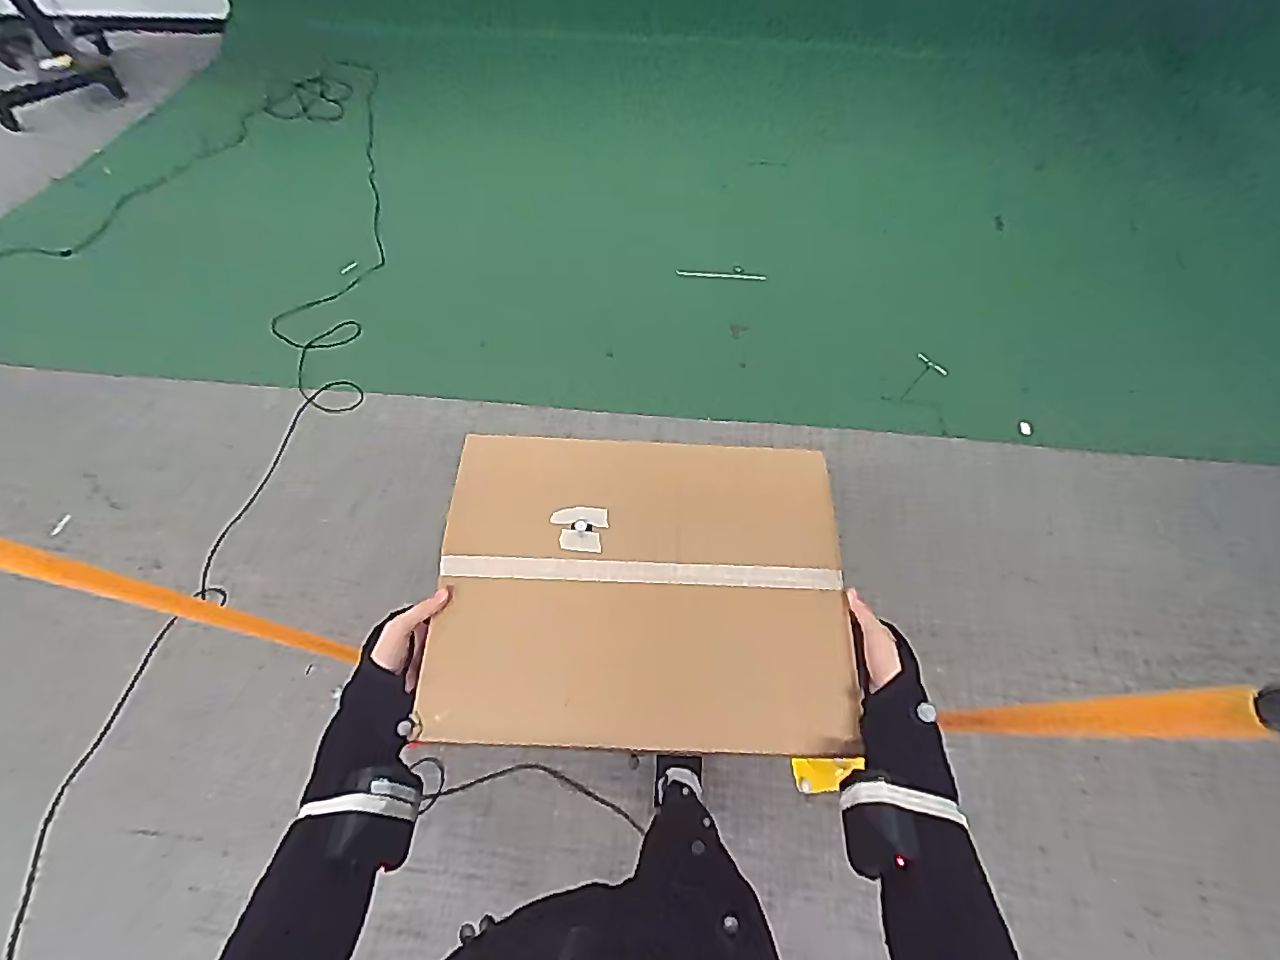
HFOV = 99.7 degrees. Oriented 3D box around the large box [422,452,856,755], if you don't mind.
[{"bbox_3d":[0.000,0.175,0.689,0.408,0.320,0.320,2,61,-1],"label":"large box"}]
